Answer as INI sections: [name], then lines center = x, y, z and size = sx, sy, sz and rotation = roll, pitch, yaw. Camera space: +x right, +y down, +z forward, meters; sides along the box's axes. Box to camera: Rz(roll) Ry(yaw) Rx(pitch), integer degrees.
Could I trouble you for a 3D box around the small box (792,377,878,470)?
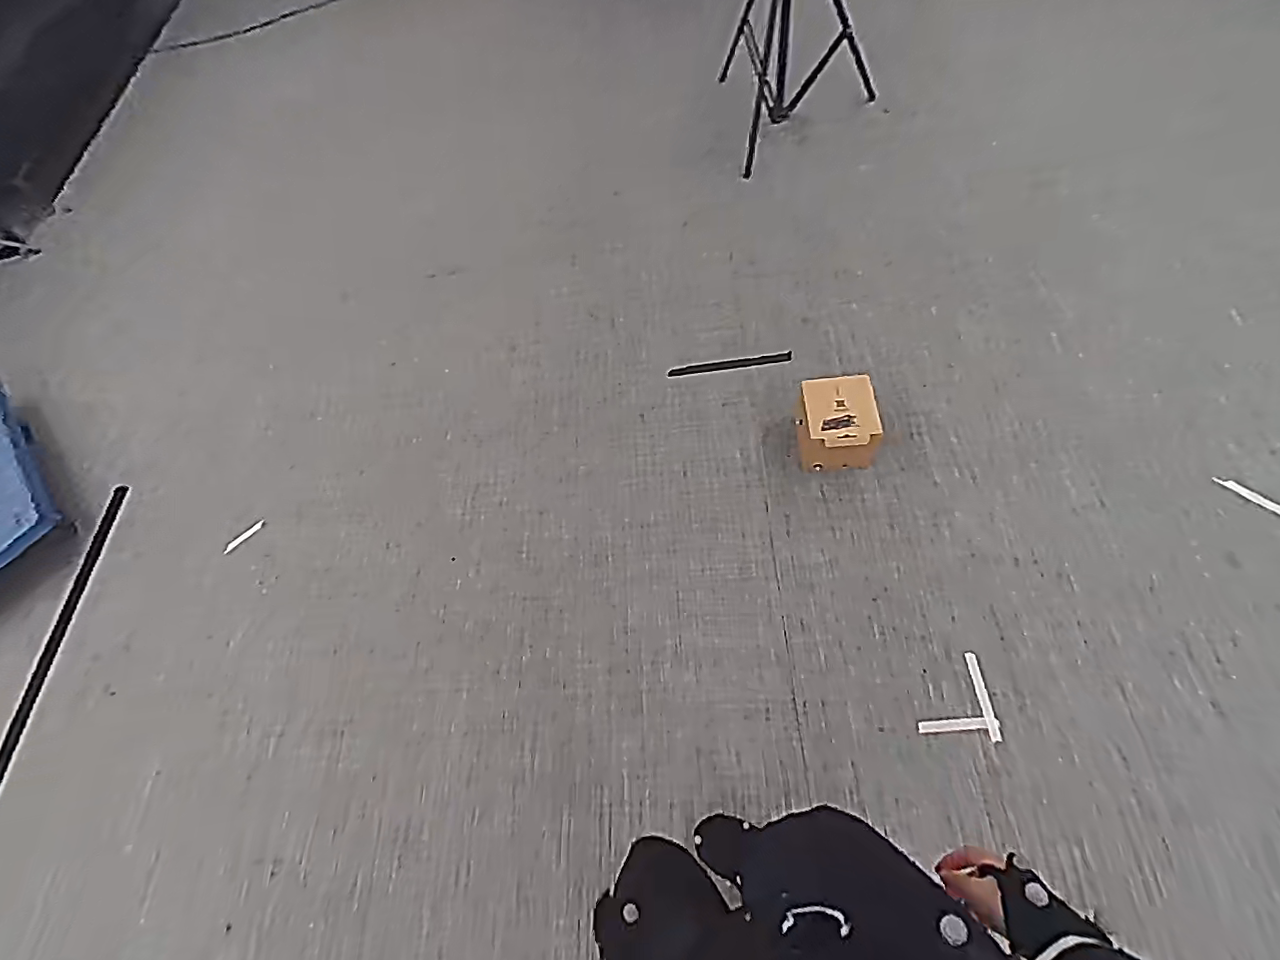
[small box]
center = 0.485, -0.133, 1.367
size = 0.168, 0.176, 0.179
rotation = -5, 63, 7
